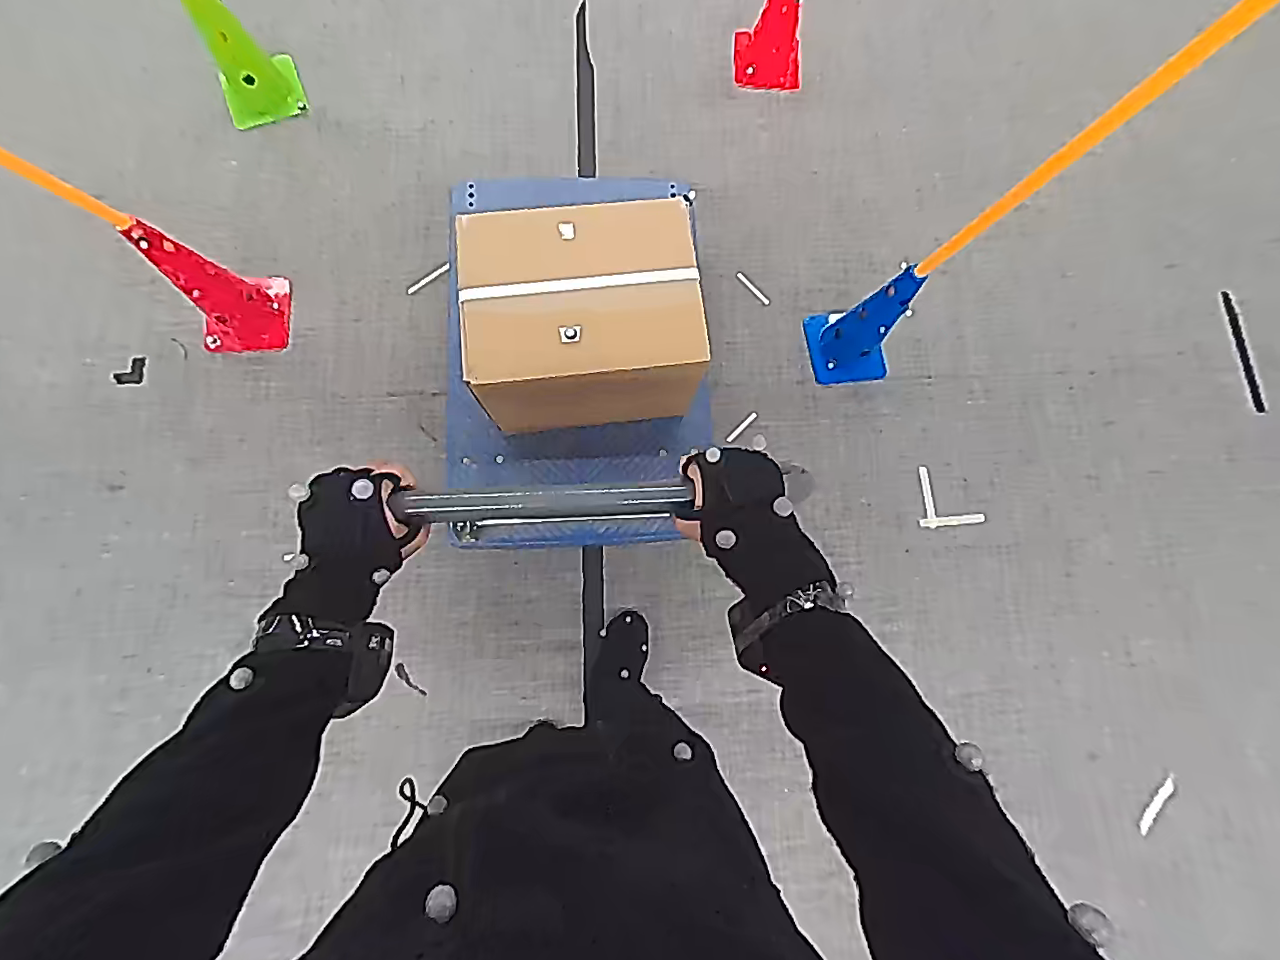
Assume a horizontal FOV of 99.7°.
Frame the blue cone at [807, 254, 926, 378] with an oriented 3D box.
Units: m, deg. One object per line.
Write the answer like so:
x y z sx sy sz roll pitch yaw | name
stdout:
0.562 -0.399 1.288 0.193 0.380 0.192 -6 78 -5 | blue cone

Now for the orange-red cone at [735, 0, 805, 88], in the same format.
0.394 -1.283 1.432 0.199 0.360 0.198 5 80 -4 | orange-red cone
